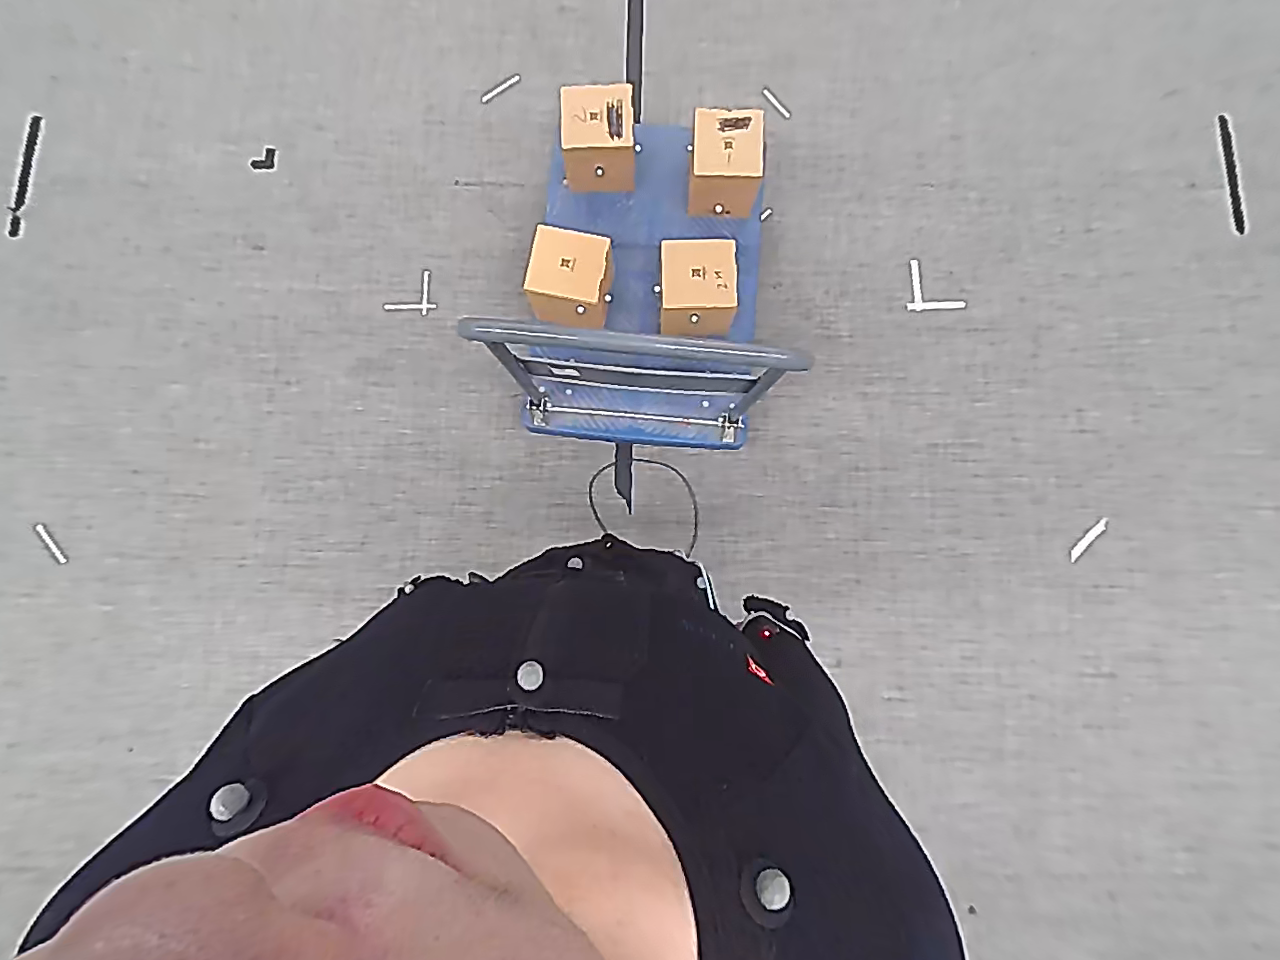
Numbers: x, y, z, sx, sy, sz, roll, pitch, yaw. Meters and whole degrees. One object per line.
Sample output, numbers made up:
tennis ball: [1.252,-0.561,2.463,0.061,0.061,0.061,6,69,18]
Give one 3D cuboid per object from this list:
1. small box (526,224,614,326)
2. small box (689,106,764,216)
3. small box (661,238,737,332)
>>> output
small box: [-0.166,-0.499,1.339,0.179,0.176,0.168,11,83,0]
small box: [0.214,-0.803,1.372,0.168,0.176,0.179,2,85,1]
small box: [0.139,-0.475,1.336,0.179,0.176,0.168,0,84,0]
